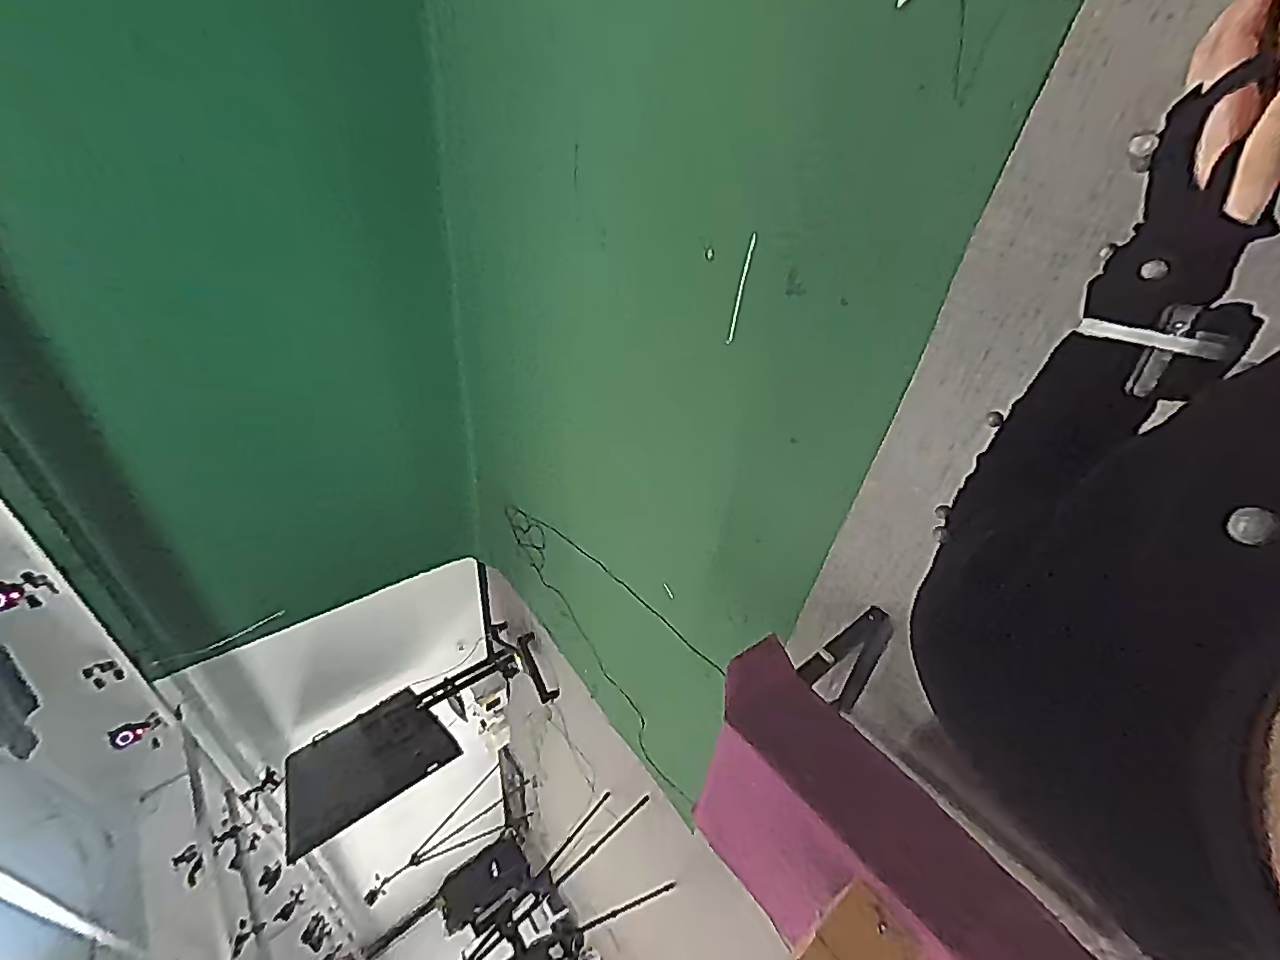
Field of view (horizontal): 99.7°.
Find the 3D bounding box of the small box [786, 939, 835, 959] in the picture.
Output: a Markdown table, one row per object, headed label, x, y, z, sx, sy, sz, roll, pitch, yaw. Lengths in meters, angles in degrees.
| label | x | y | z | sx | sy | sz | roll | pitch | yaw |
| --- | --- | --- | --- | --- | --- | --- | --- | --- | --- |
| small box | 0.337 | 1.065 | 1.071 | 0.168 | 0.176 | 0.179 | 43 | 140 | 34 |
